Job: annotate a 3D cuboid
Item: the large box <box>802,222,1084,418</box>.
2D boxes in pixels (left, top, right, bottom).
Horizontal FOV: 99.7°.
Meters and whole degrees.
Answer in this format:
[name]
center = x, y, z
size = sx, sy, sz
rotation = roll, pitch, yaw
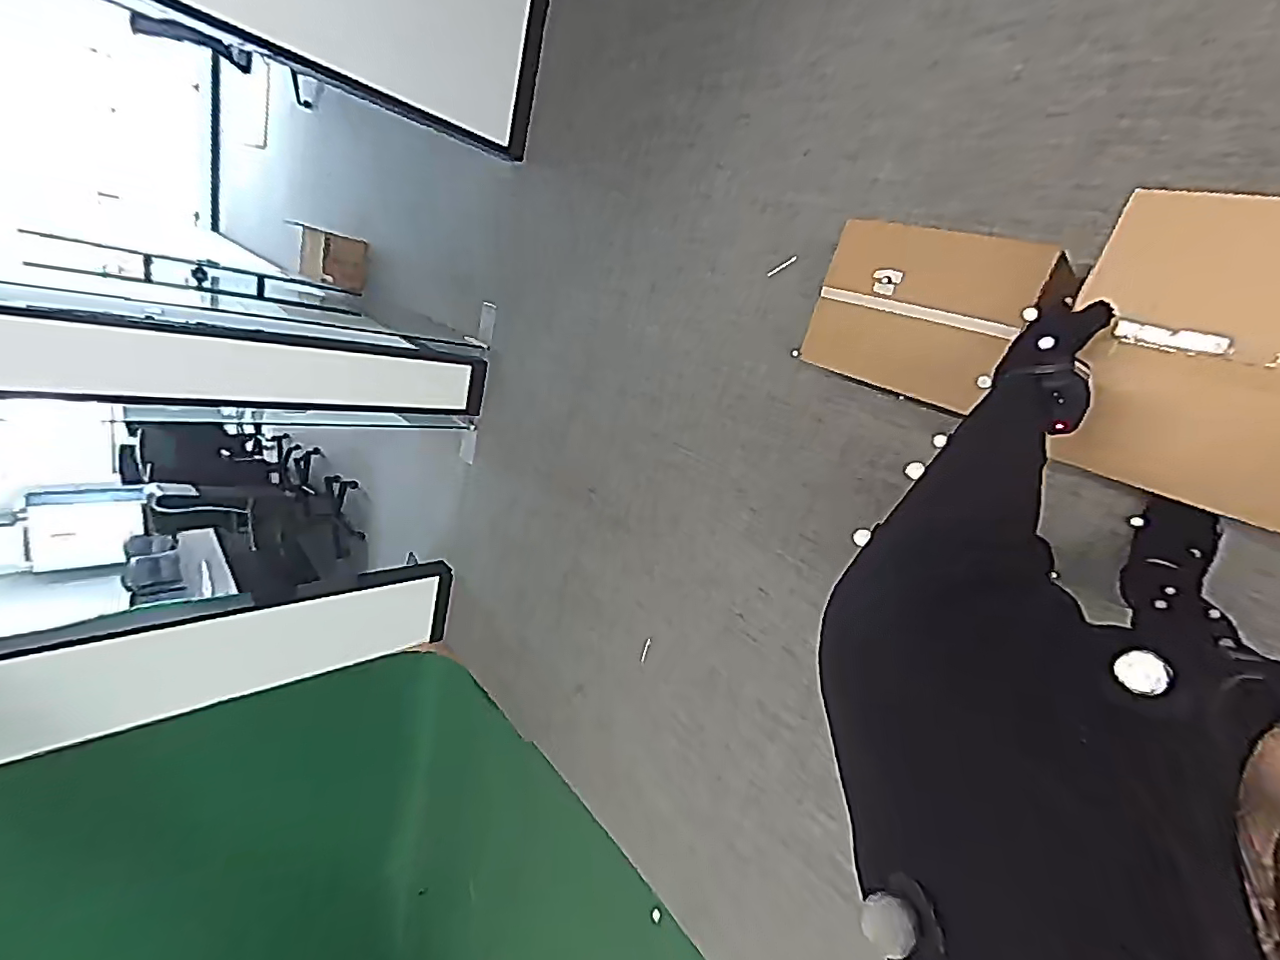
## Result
[large box]
center = 0.647, -0.342, 1.181
size = 0.408, 0.320, 0.320
rotation = 33, 114, 39
